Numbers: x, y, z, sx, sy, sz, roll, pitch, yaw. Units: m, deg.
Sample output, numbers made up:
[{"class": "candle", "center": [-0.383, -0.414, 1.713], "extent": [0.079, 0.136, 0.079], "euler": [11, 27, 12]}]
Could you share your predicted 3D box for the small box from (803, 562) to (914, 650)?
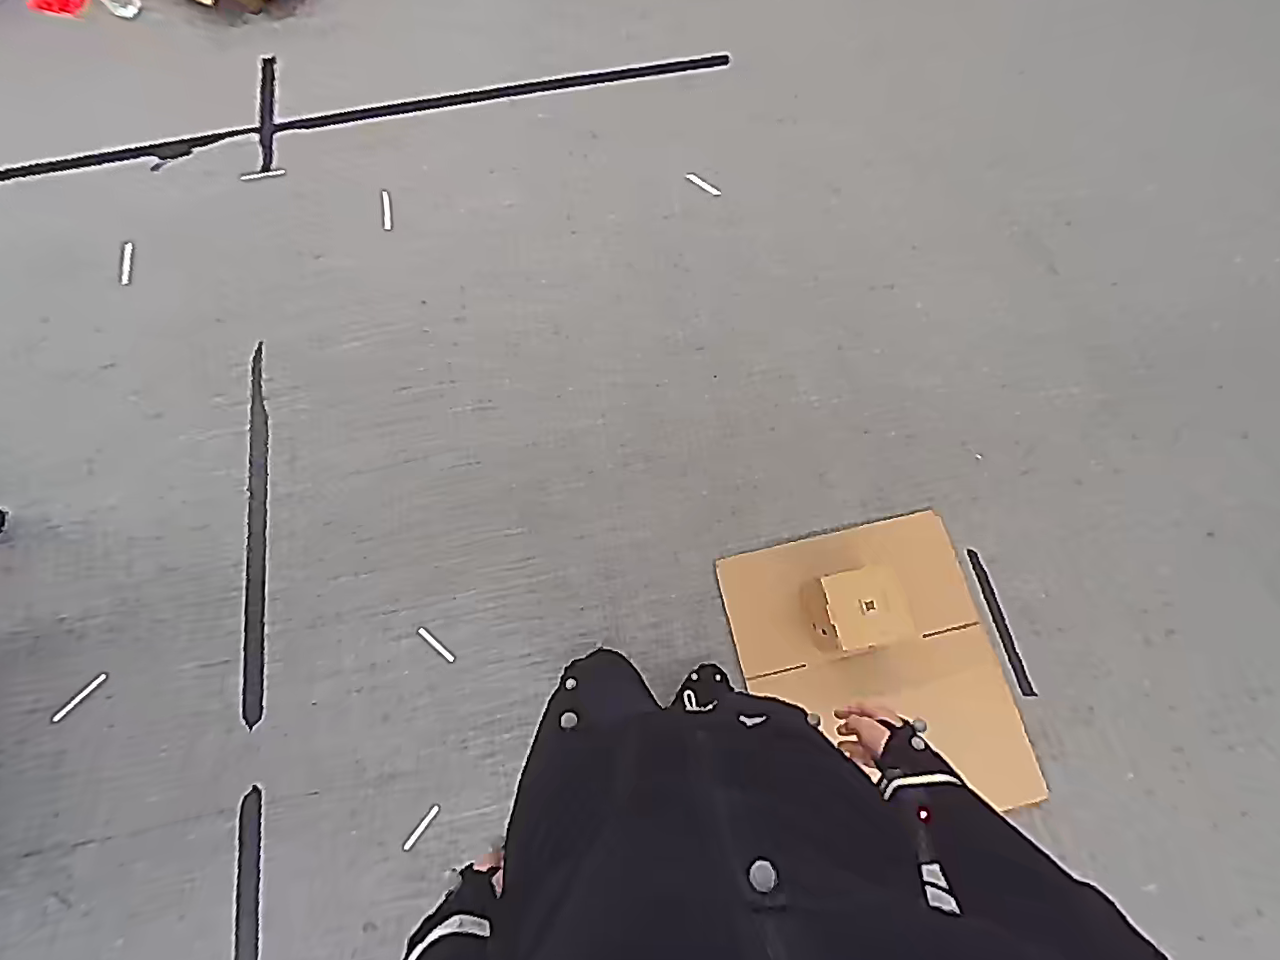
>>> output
[{"class": "small box", "center": [0.498, 0.299, 1.270], "extent": [0.179, 0.176, 0.168], "euler": [-11, 75, -3]}]
